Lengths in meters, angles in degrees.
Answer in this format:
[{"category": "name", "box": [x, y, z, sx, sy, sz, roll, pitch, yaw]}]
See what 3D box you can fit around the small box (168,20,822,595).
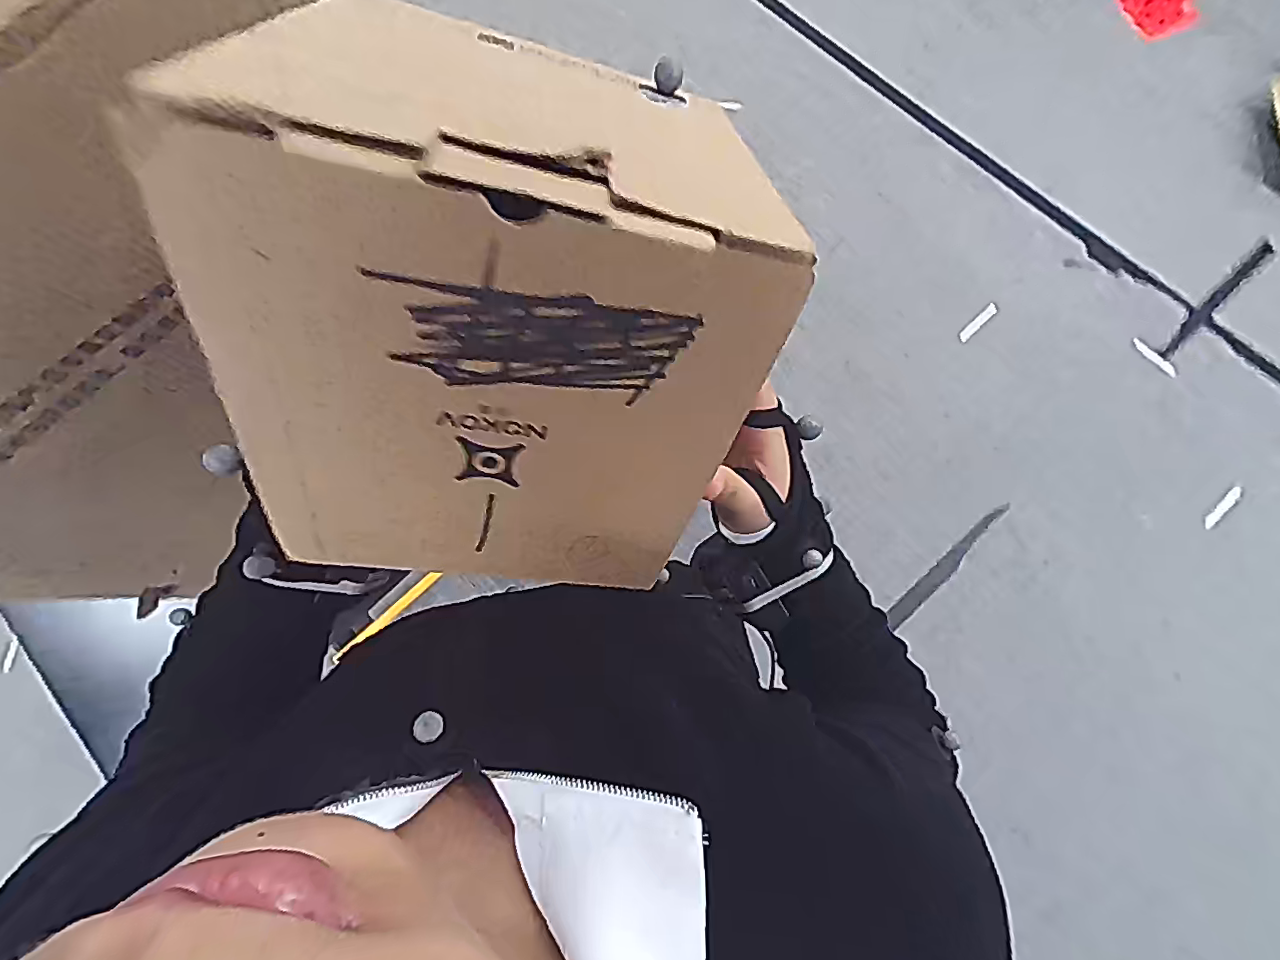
[{"category": "small box", "box": [-0.054, -0.069, 0.246, 0.168, 0.179, 0.176, 8, 46, -14]}]
